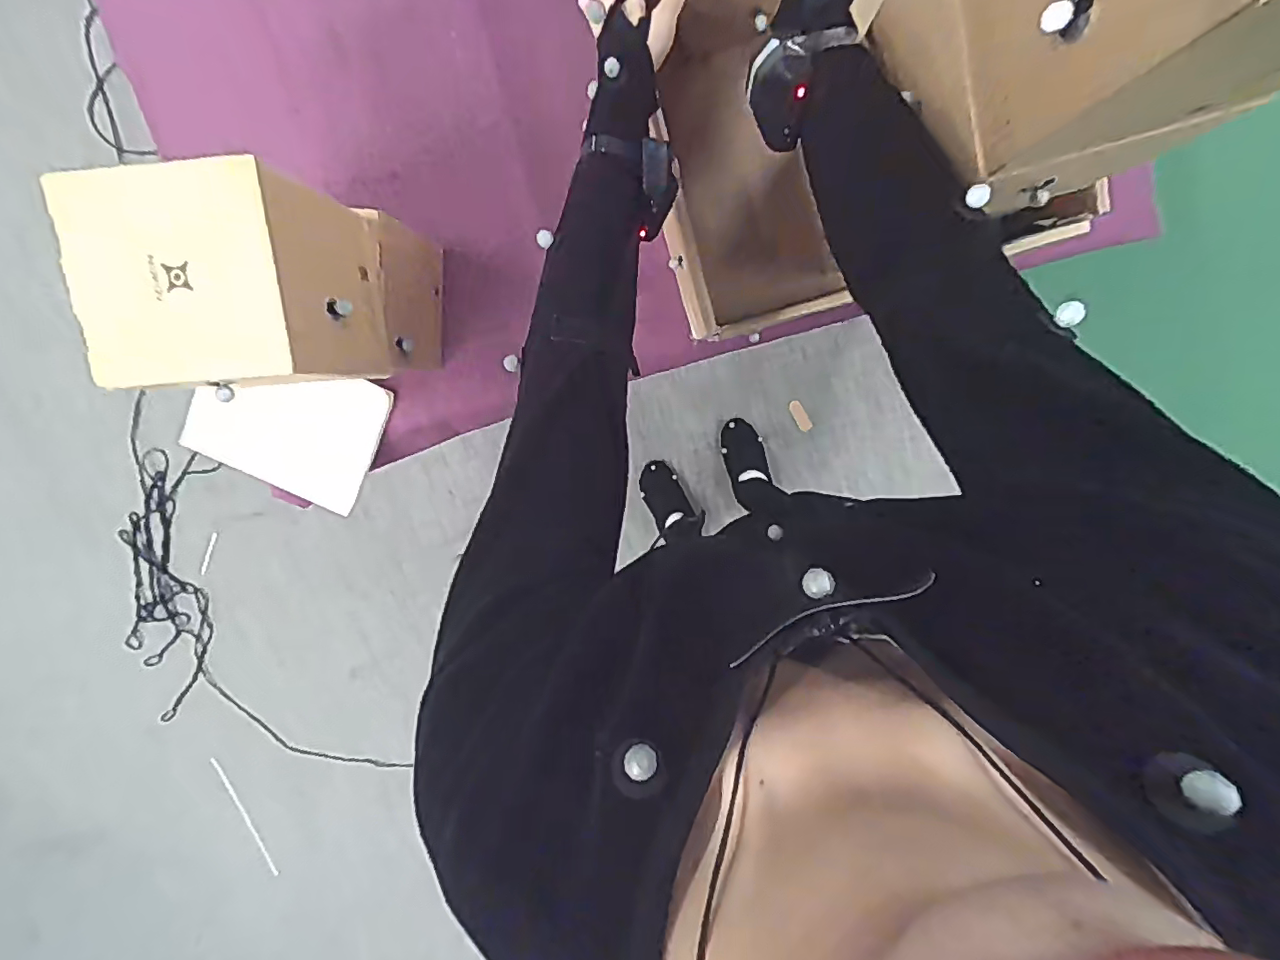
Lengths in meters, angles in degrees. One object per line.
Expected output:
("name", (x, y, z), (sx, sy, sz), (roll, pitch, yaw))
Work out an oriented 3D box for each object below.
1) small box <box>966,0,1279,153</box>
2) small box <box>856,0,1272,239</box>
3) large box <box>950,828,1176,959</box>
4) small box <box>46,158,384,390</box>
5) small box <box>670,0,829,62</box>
("small box", (0.270, -0.277, 0.240), (0.168, 0.176, 0.179), (-13, 99, 6))
("small box", (0.284, -0.301, 0.400), (0.179, 0.176, 0.168), (-13, 99, 8))
("large box", (1.205, 1.308, 1.542), (0.408, 0.320, 0.320), (-31, 98, 6))
("small box", (-0.363, -0.175, 0.505), (0.179, 0.176, 0.168), (-3, 100, 4))
("small box", (0.094, -0.554, 0.513), (0.168, 0.176, 0.179), (-13, 106, 16))
